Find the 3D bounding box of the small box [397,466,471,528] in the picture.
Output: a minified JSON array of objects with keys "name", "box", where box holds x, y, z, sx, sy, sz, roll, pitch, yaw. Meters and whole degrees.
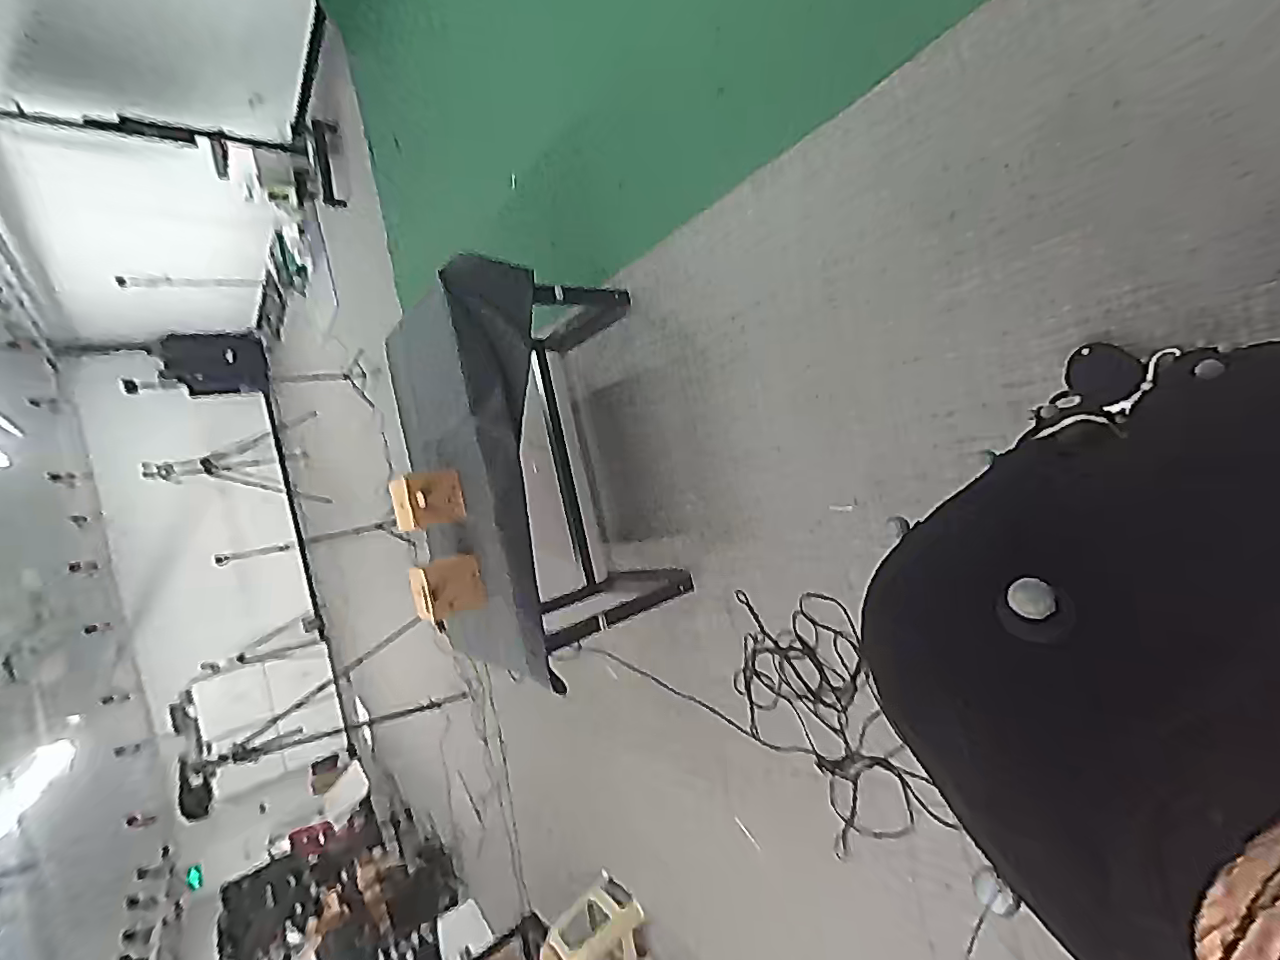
[{"name":"small box","box":[-0.669,0.056,1.759,0.179,0.176,0.168,-12,90,51]}]
